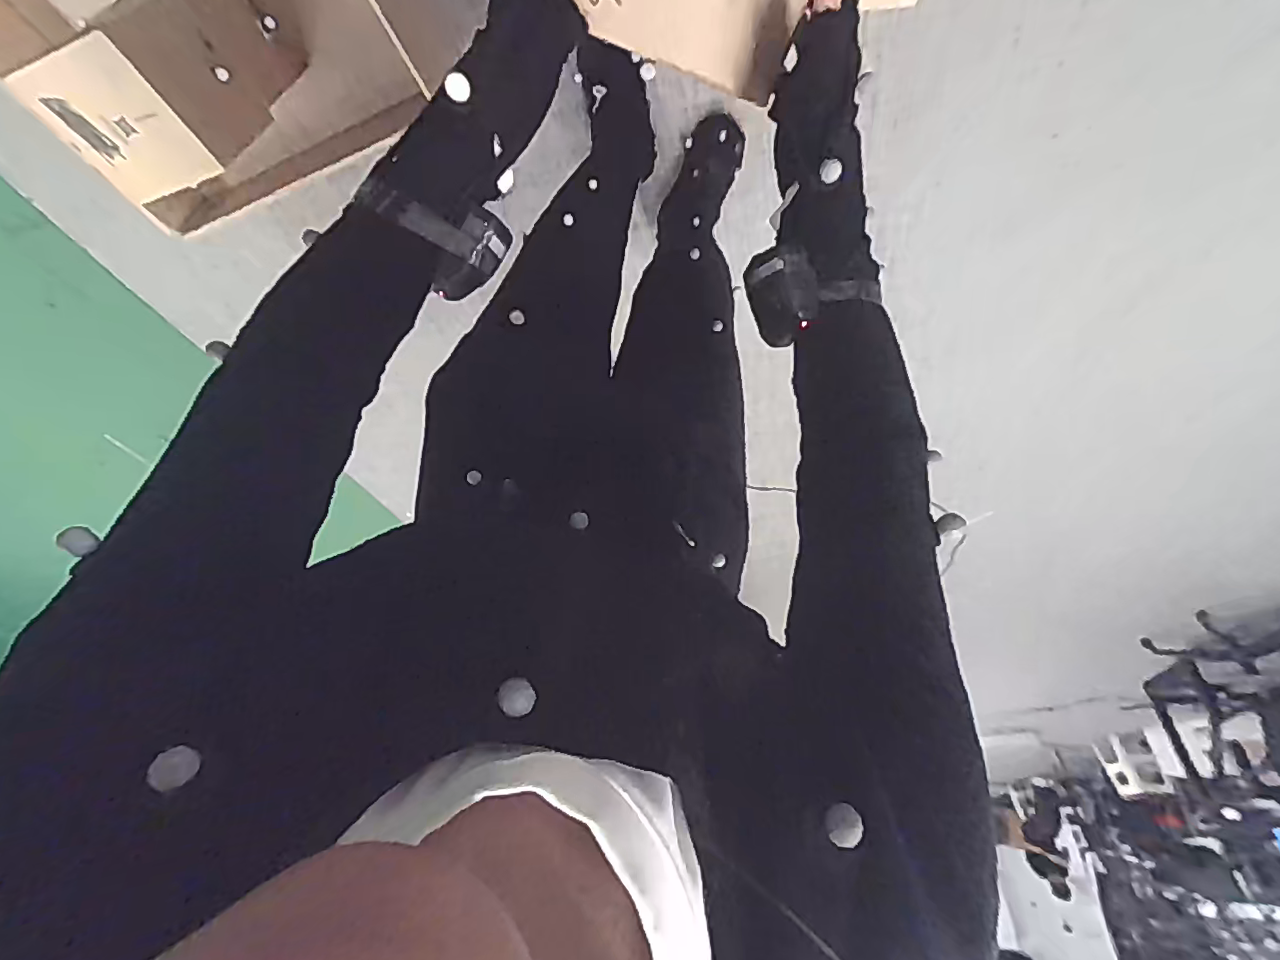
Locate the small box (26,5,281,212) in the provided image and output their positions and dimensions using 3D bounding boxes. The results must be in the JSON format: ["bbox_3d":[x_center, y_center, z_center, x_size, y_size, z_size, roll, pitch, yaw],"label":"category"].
[{"bbox_3d":[-0.656,-0.516,0.757,0.179,0.176,0.168,-10,142,14],"label":"small box"}]
